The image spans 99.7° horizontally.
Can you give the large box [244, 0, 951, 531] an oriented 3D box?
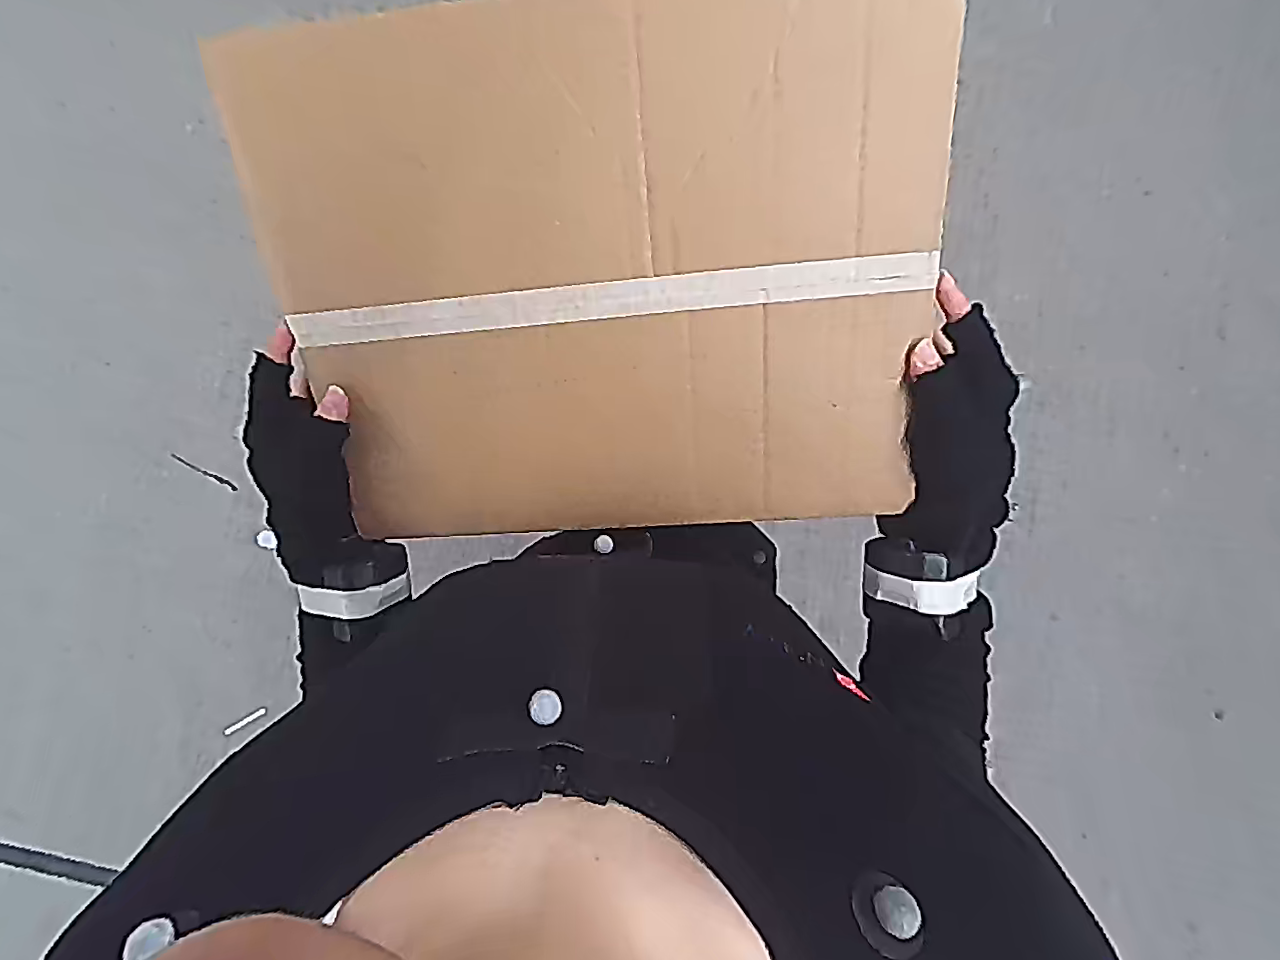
[{"bbox_3d":[-0.013,-0.169,0.485,0.408,0.320,0.320,-3,113,6],"label":"large box"}]
